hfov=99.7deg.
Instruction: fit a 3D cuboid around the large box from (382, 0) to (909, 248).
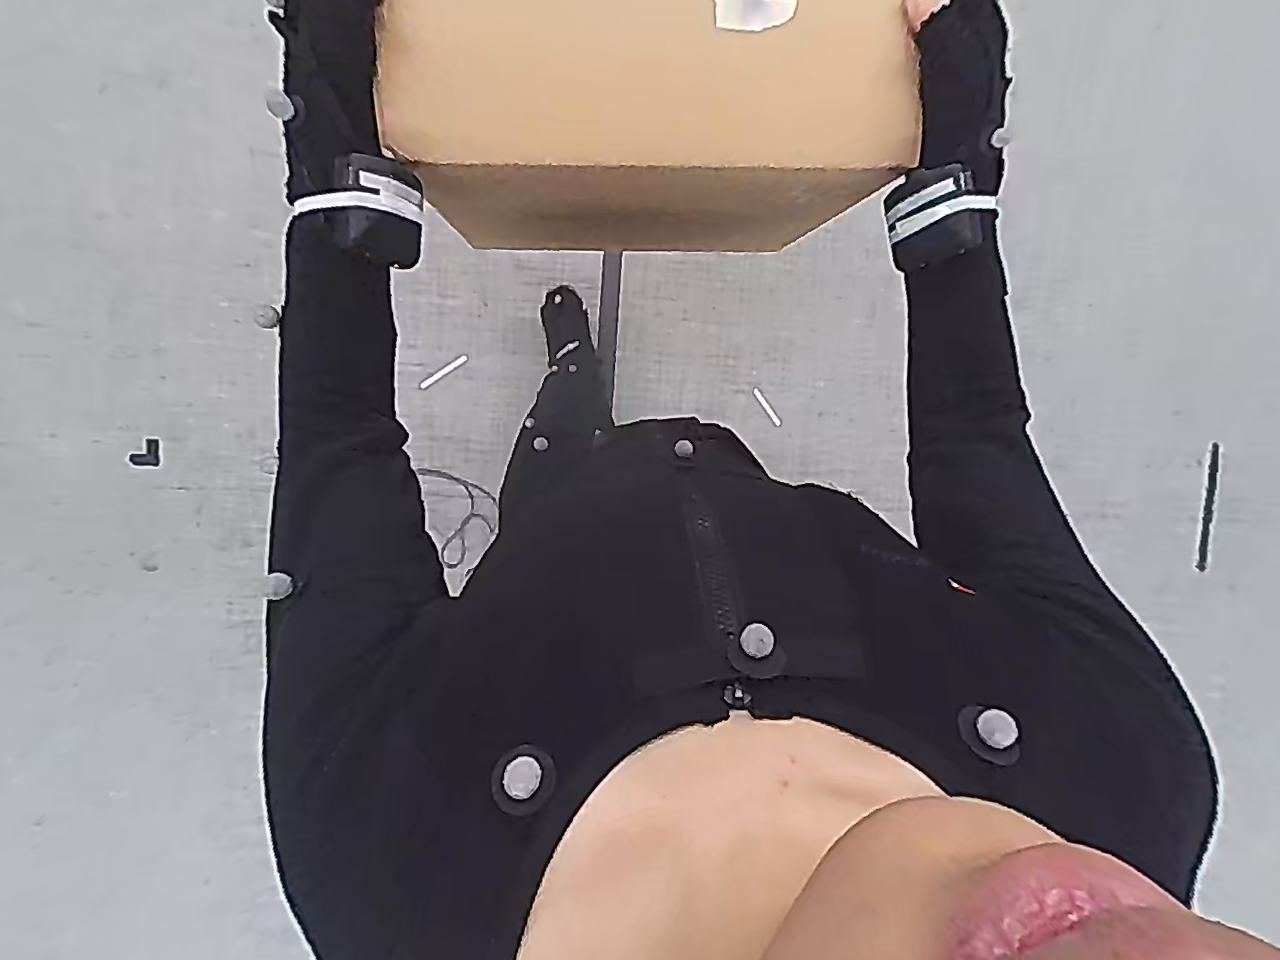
[{"bbox_3d":[-0.006,-0.430,0.538,0.408,0.320,0.320,-3,103,-6],"label":"large box"}]
